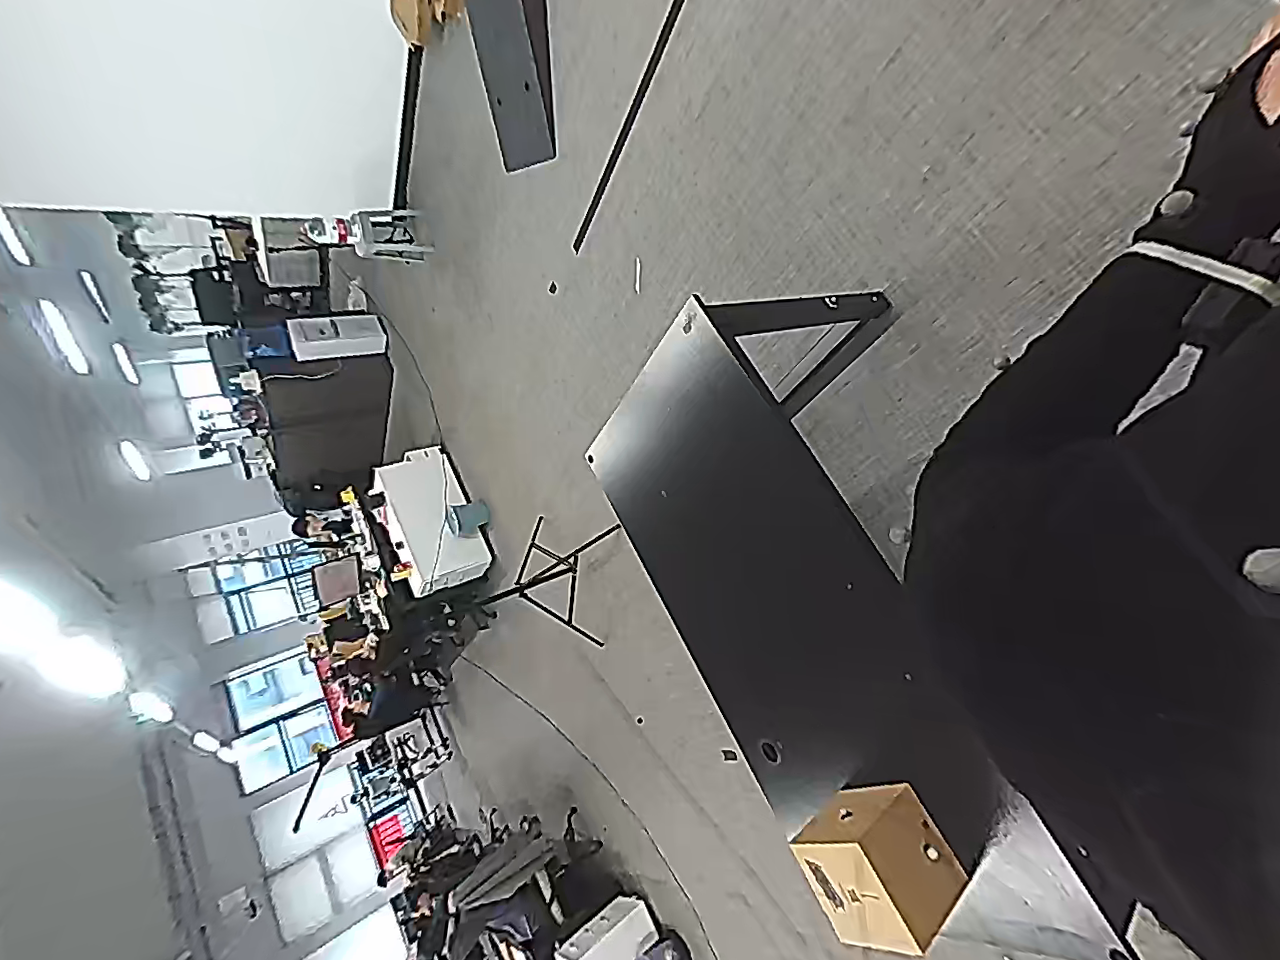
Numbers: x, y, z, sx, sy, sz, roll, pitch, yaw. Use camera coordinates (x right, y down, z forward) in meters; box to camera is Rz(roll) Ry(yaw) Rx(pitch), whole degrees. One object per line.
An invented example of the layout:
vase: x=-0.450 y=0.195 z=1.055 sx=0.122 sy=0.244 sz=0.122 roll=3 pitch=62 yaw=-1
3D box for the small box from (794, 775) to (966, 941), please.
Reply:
small box: x=0.413 y=0.639 z=0.934 sx=0.168 sy=0.176 sz=0.179 roll=60 pitch=142 yaw=17
